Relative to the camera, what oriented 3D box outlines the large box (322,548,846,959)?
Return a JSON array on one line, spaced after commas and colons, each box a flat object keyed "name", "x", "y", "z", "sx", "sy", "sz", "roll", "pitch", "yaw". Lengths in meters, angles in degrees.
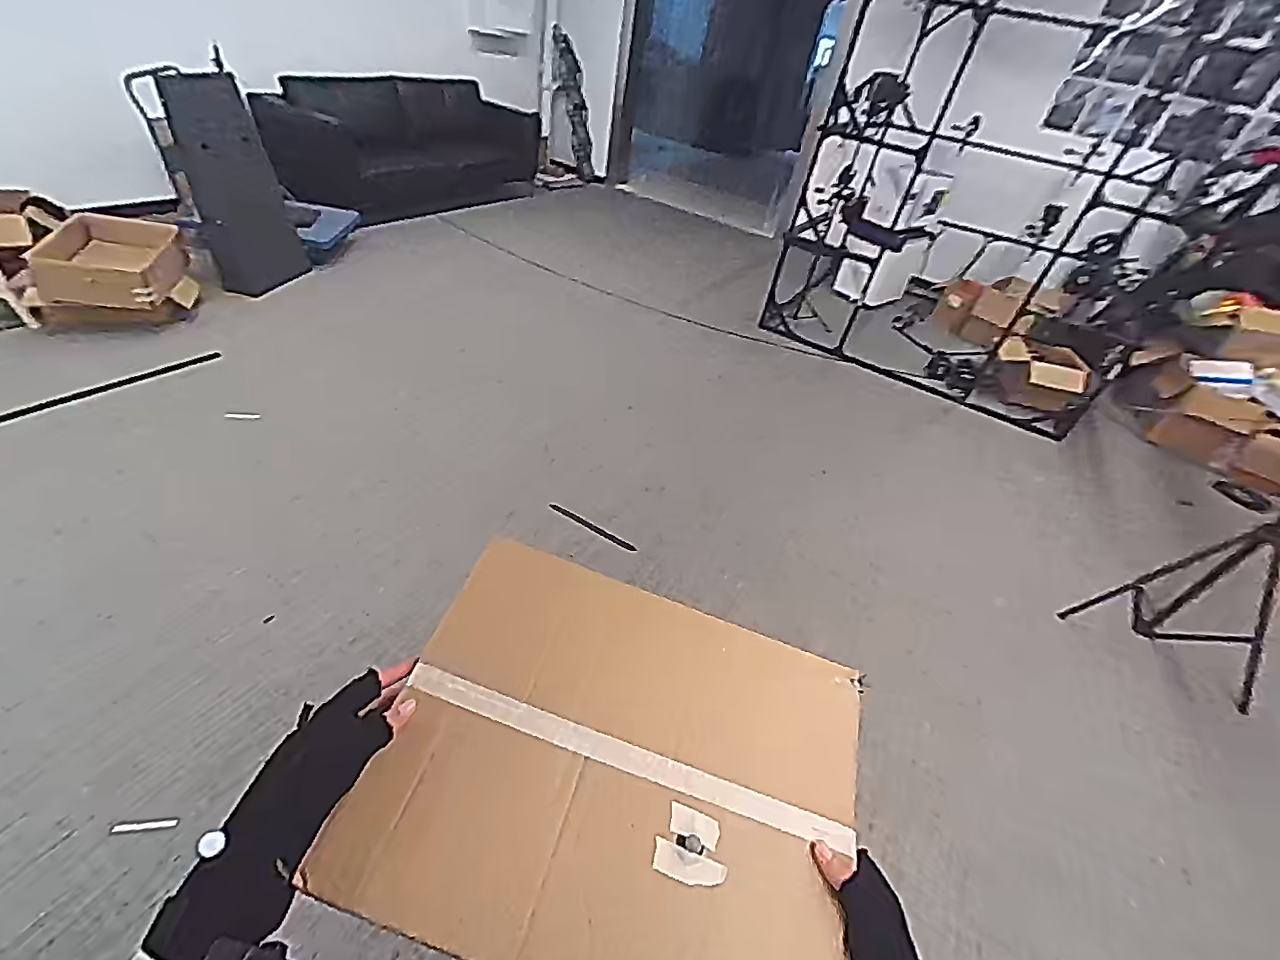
[{"name": "large box", "x": -0.040, "y": 0.337, "z": 0.599, "sx": 0.408, "sy": 0.320, "sz": 0.320, "roll": 21, "pitch": 51, "yaw": 2}]
